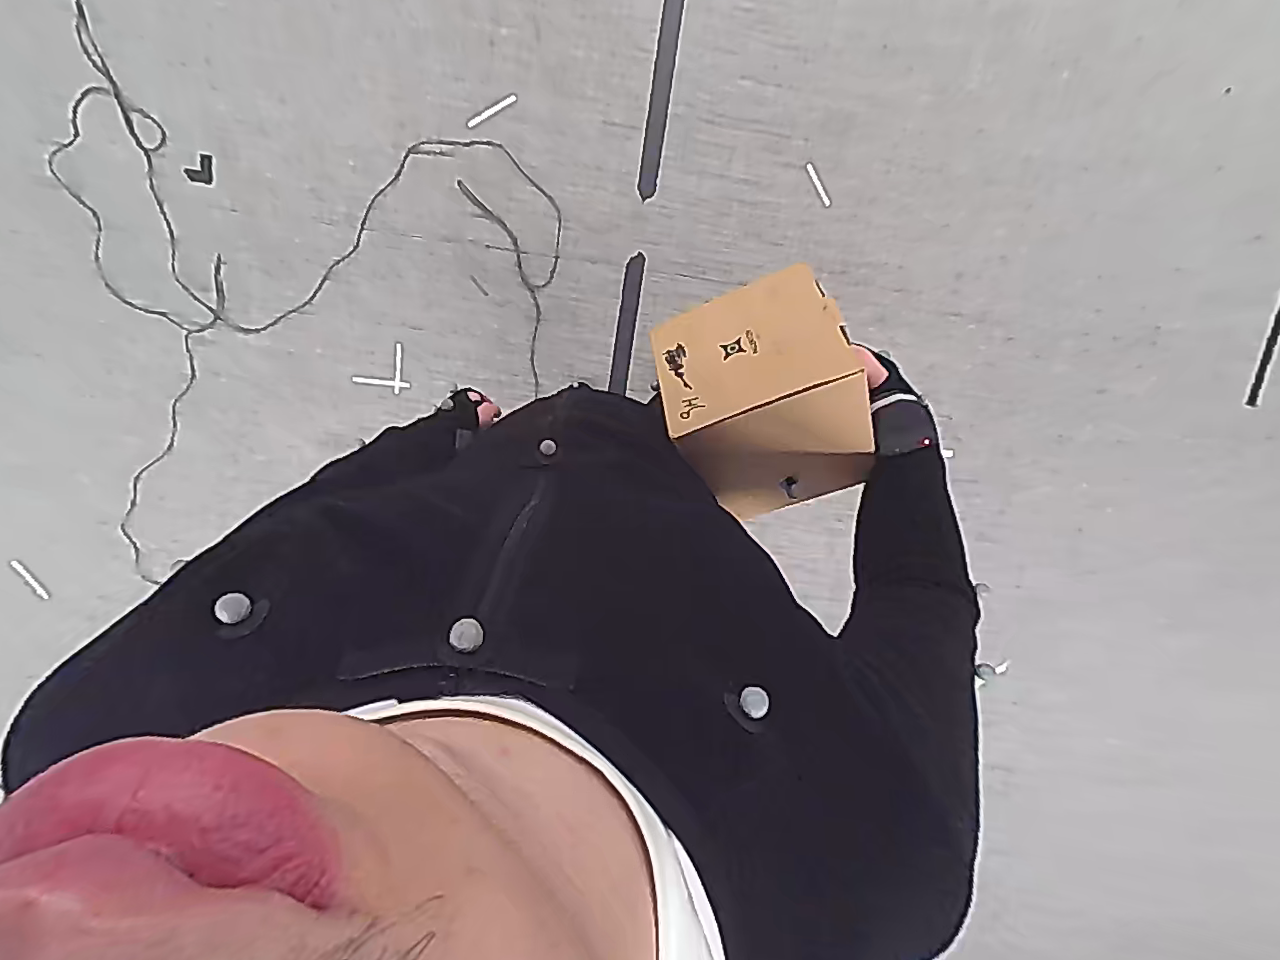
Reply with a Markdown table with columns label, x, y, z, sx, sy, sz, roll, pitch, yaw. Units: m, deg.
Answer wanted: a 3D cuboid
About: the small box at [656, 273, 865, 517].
| label | x | y | z | sx | sy | sz | roll | pitch | yaw |
| --- | --- | --- | --- | --- | --- | --- | --- | --- | --- |
| small box | 0.135 | -0.085 | 0.596 | 0.179 | 0.168 | 0.176 | -19 | 140 | 14 |
